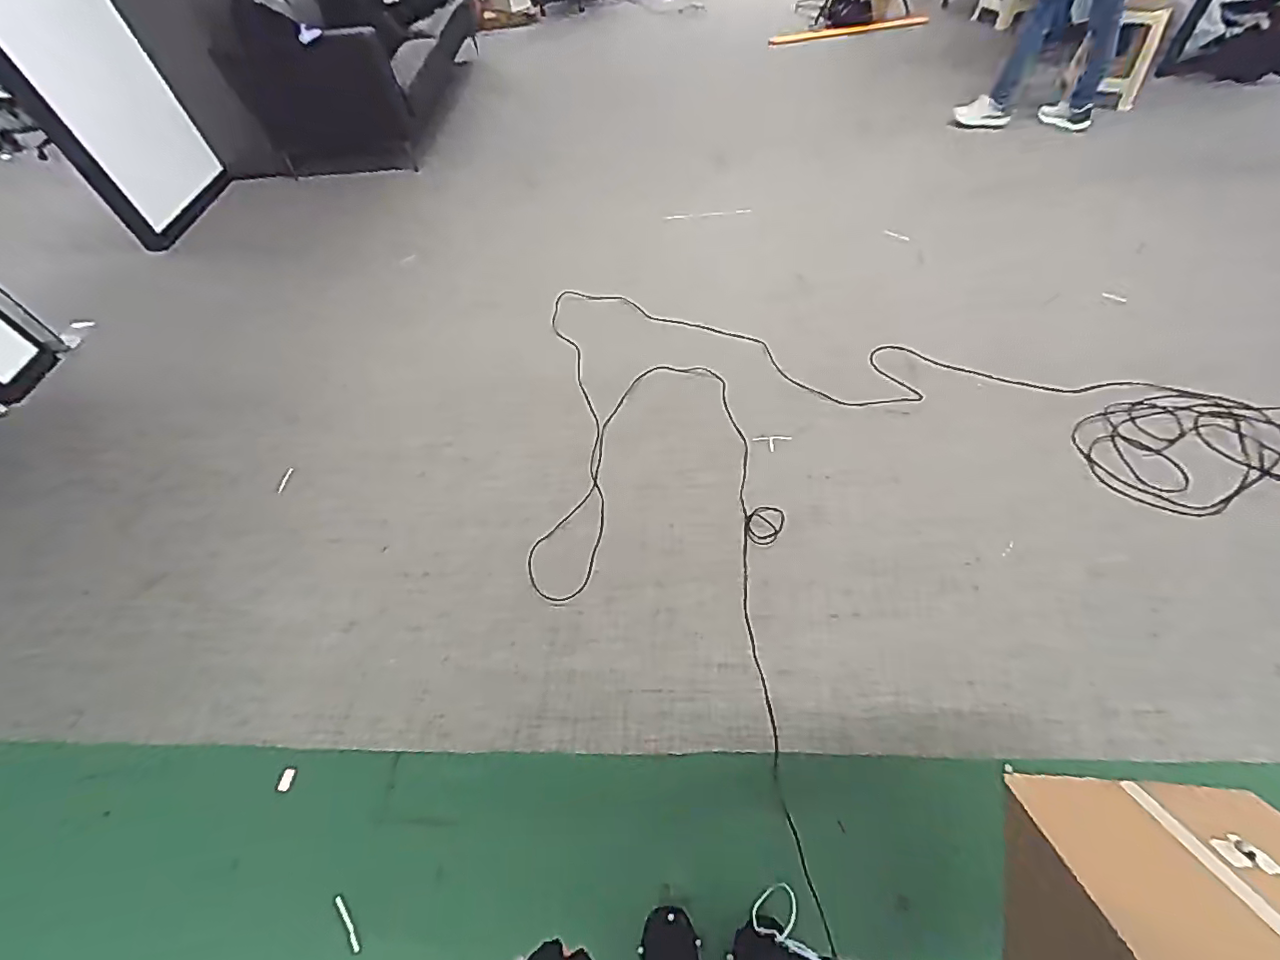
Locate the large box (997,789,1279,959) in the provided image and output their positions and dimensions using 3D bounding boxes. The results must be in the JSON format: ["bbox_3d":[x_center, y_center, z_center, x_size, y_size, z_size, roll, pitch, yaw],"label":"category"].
[{"bbox_3d":[0.654,0.619,0.594,0.320,0.408,0.320,-1,94,11],"label":"large box"}]
